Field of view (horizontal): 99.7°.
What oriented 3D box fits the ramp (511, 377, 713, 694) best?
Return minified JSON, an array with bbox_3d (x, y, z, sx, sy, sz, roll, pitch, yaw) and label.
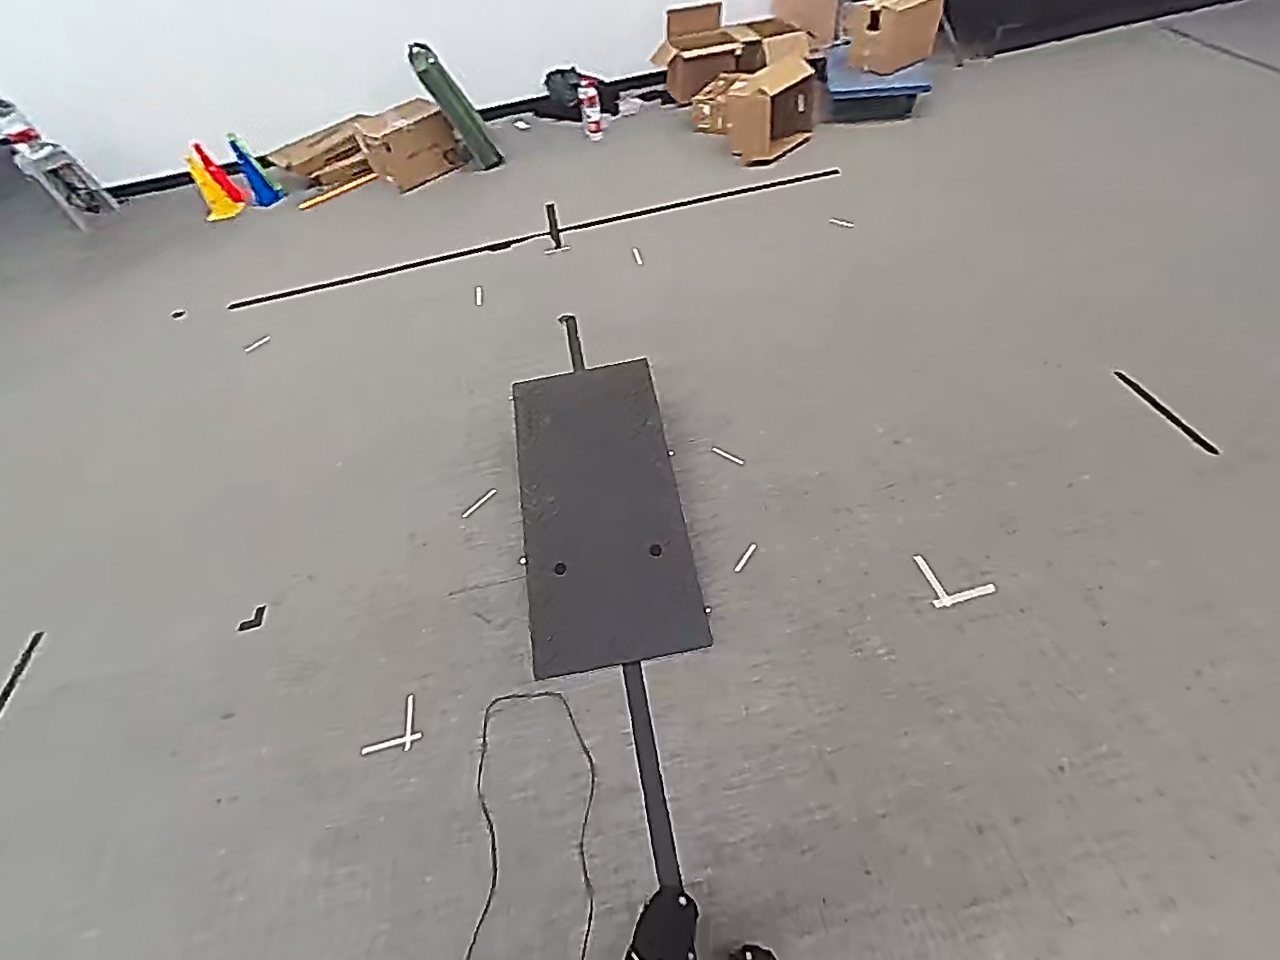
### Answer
[{"bbox_3d":[-0.127,0.105,1.699,0.509,0.206,0.991,-13,51,-3],"label":"ramp"}]
